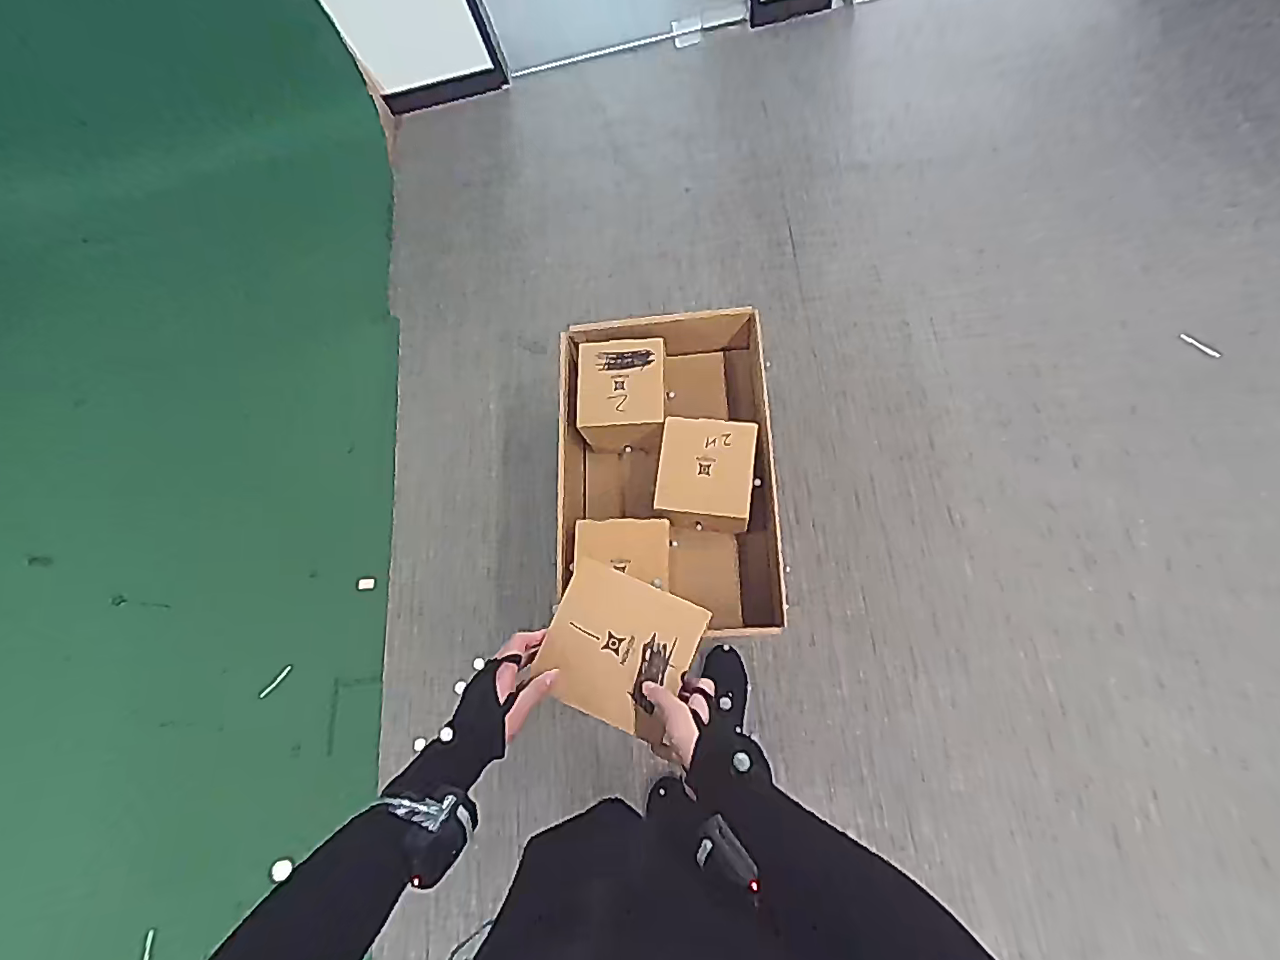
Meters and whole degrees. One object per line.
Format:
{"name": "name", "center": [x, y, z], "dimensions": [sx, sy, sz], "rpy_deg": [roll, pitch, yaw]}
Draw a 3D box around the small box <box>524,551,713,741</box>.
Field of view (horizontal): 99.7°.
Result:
{"name": "small box", "center": [-0.026, 0.208, 0.711], "dimensions": [0.179, 0.176, 0.168], "rpy_deg": [24, 76, 4]}
